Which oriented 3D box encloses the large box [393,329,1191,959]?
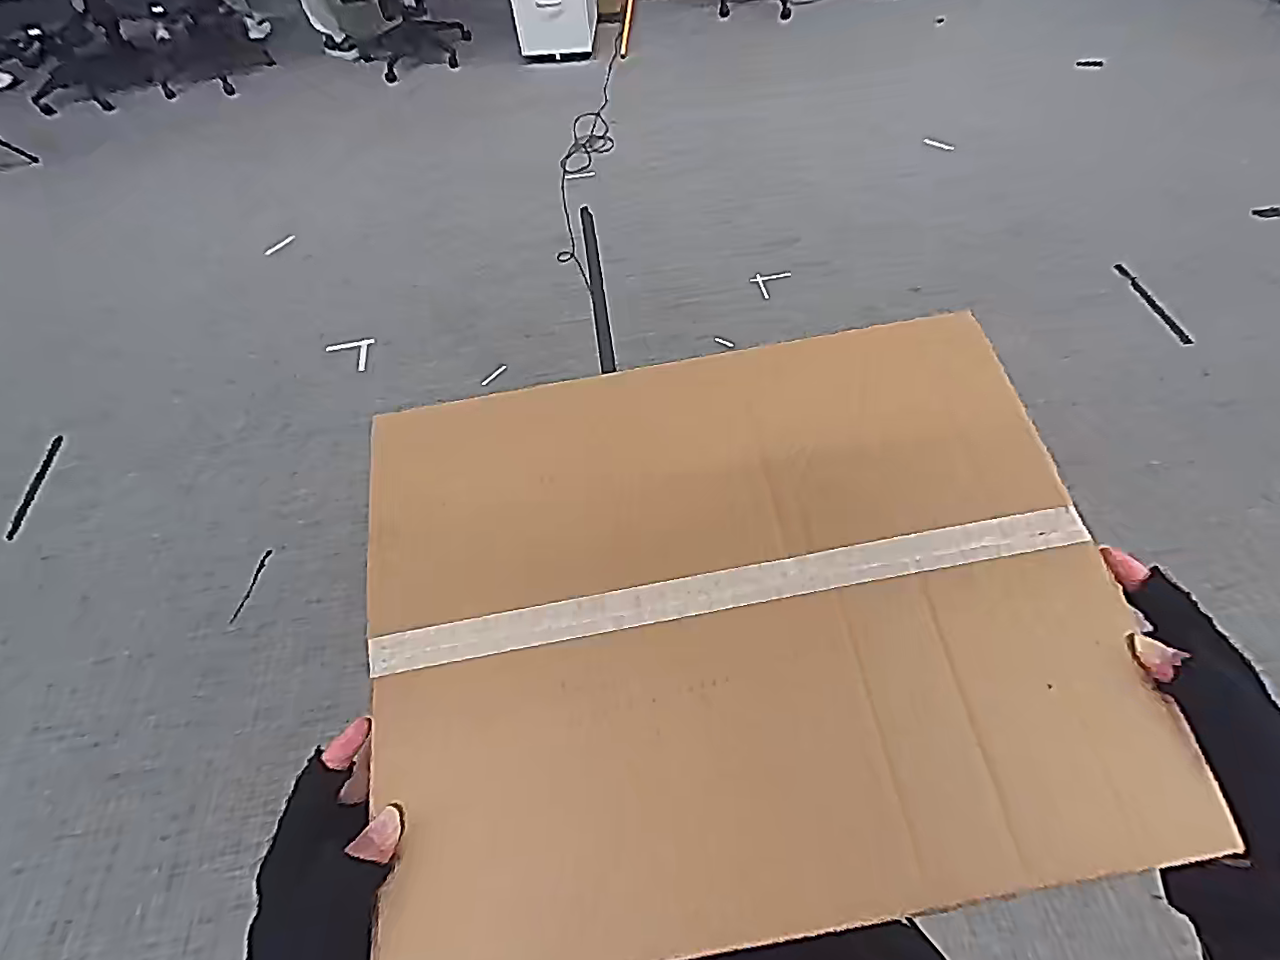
[{"bbox_3d":[0.059,0.127,0.455,0.408,0.320,0.320,-11,68,-1],"label":"large box"}]
